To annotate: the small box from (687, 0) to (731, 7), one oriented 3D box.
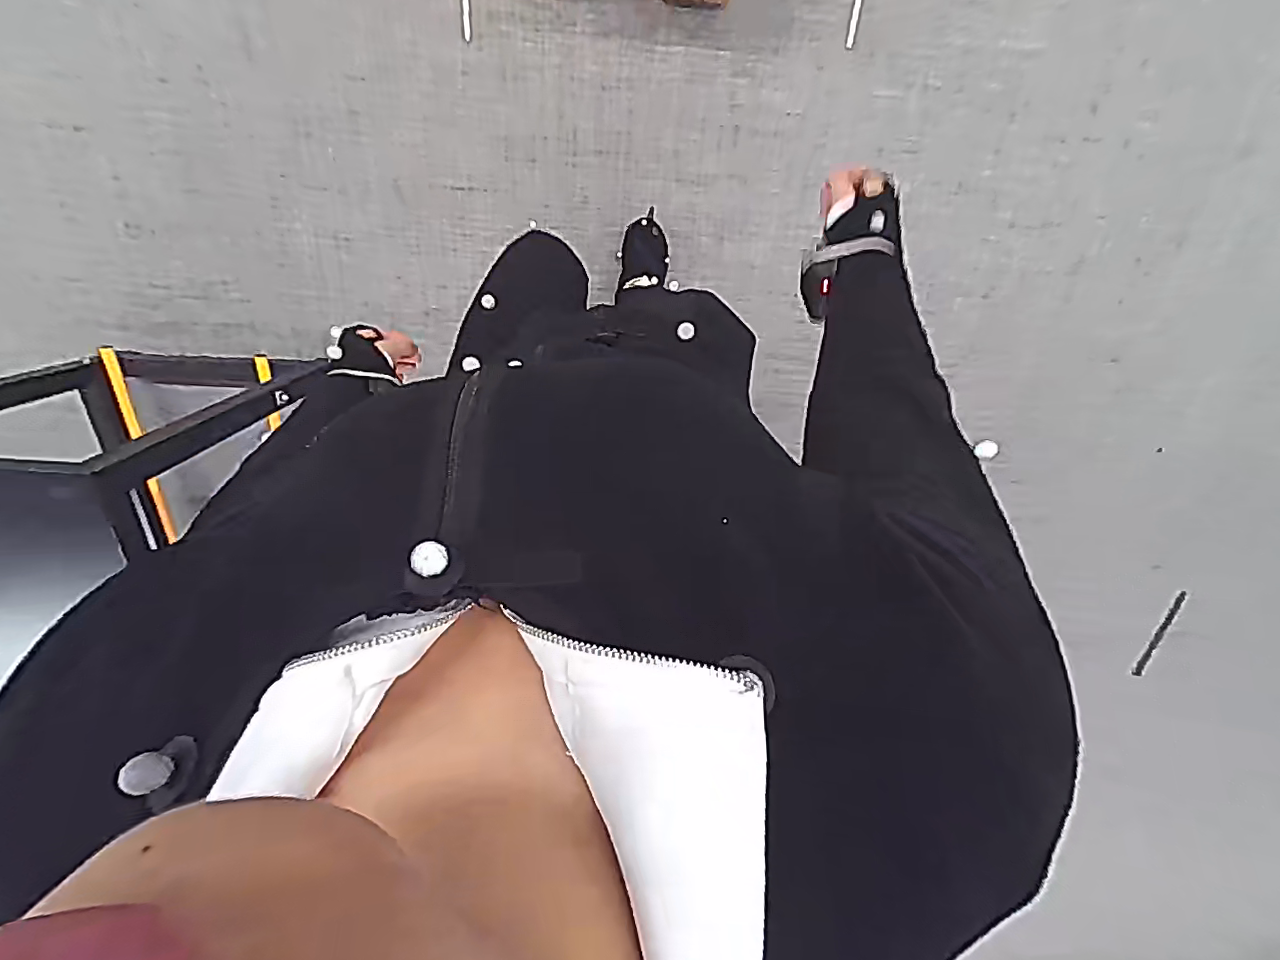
[{"bbox_3d":[0.112,-1.014,0.998,0.168,0.176,0.179,5,116,-3],"label":"small box"}]
